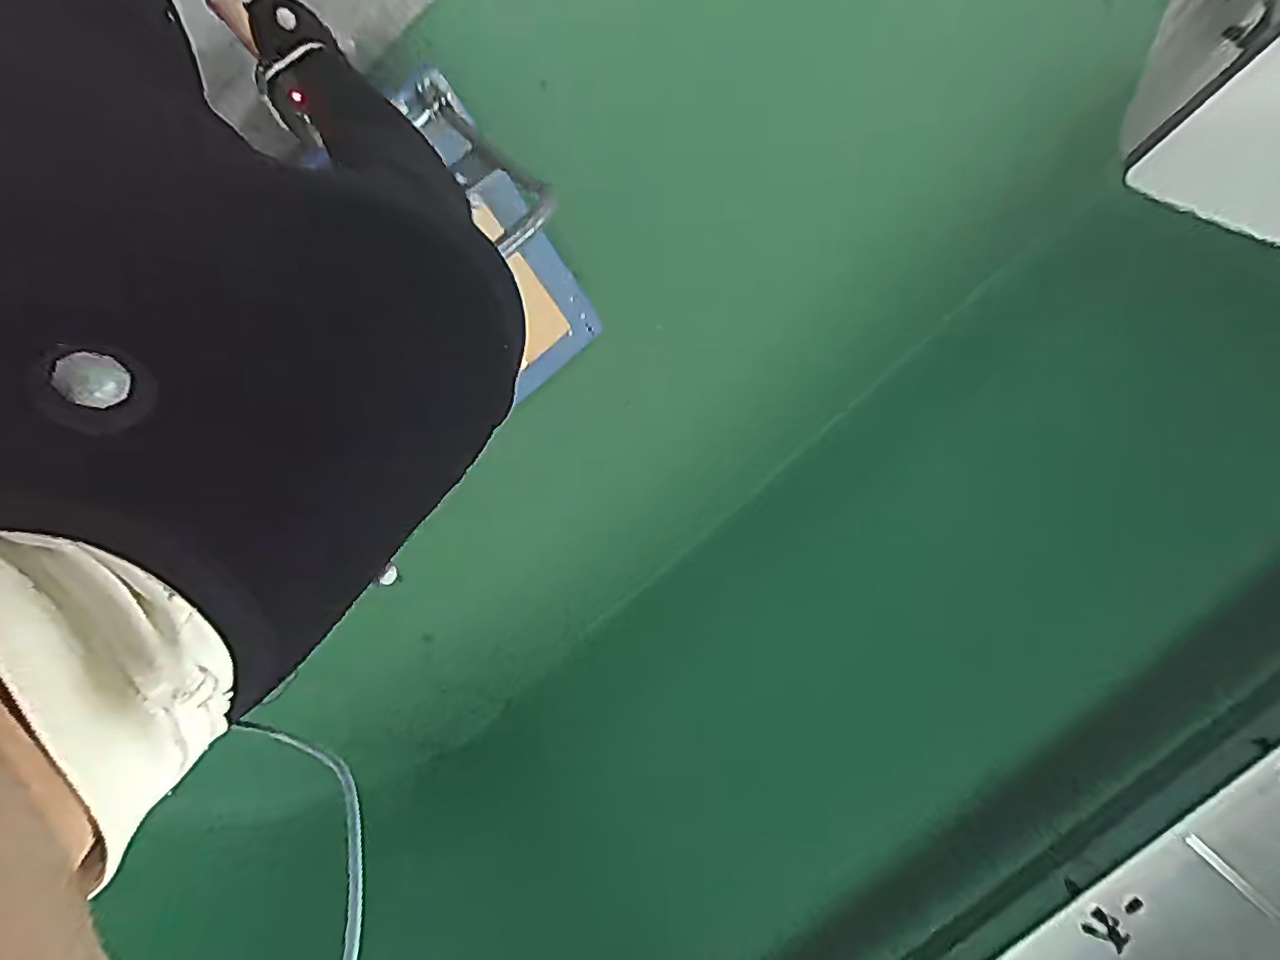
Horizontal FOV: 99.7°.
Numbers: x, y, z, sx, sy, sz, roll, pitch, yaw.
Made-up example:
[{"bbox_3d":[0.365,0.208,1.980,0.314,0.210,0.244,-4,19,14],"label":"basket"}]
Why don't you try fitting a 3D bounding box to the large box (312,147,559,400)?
[{"bbox_3d":[-0.470,-0.475,1.289,0.320,0.320,0.408,-40,150,0],"label":"large box"}]
